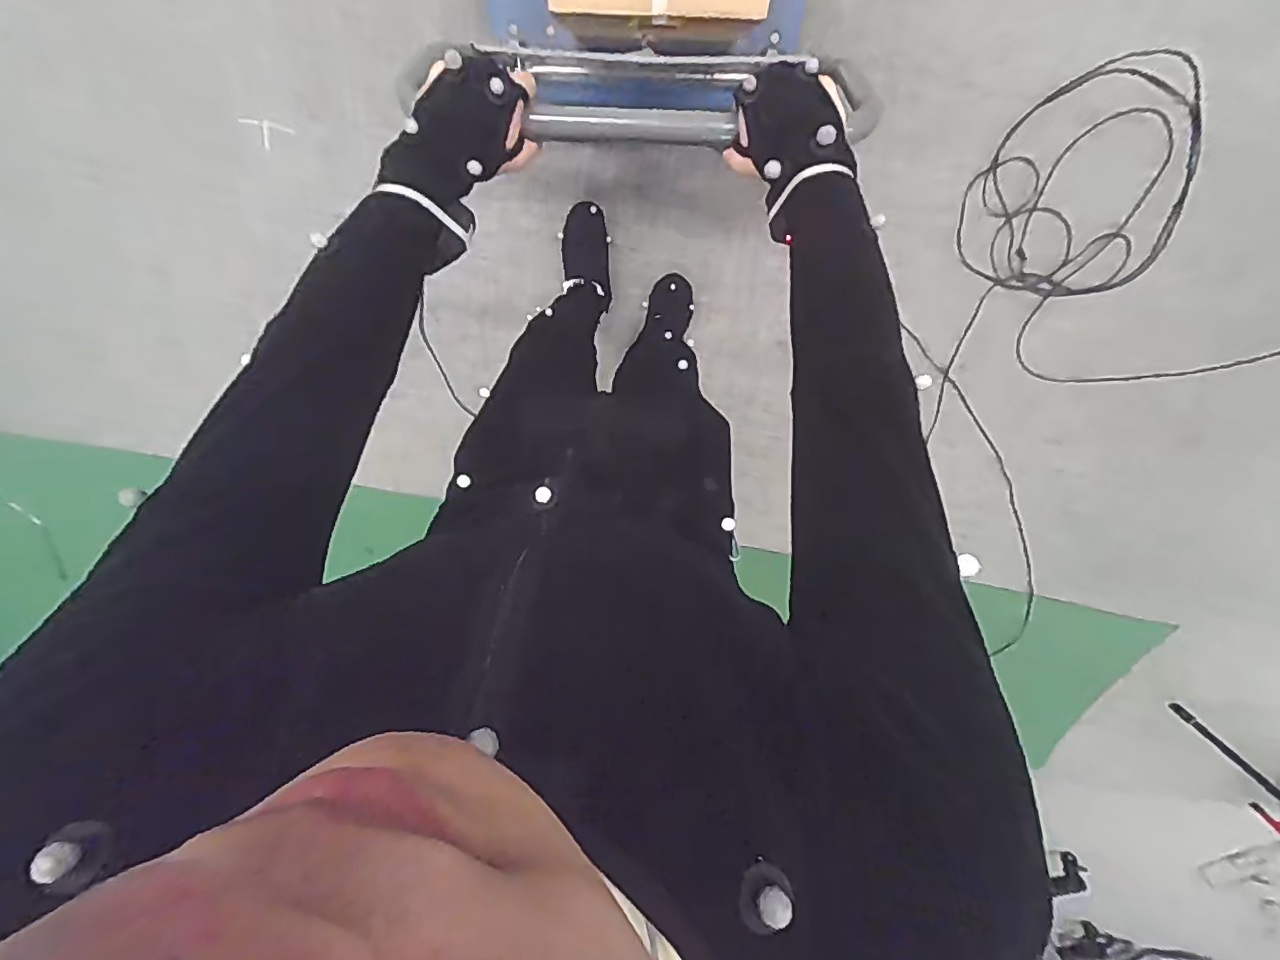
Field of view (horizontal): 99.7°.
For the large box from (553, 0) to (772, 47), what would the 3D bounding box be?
[{"bbox_3d":[0.036,-0.901,0.787,0.320,0.320,0.408,1,123,-1],"label":"large box"}]
